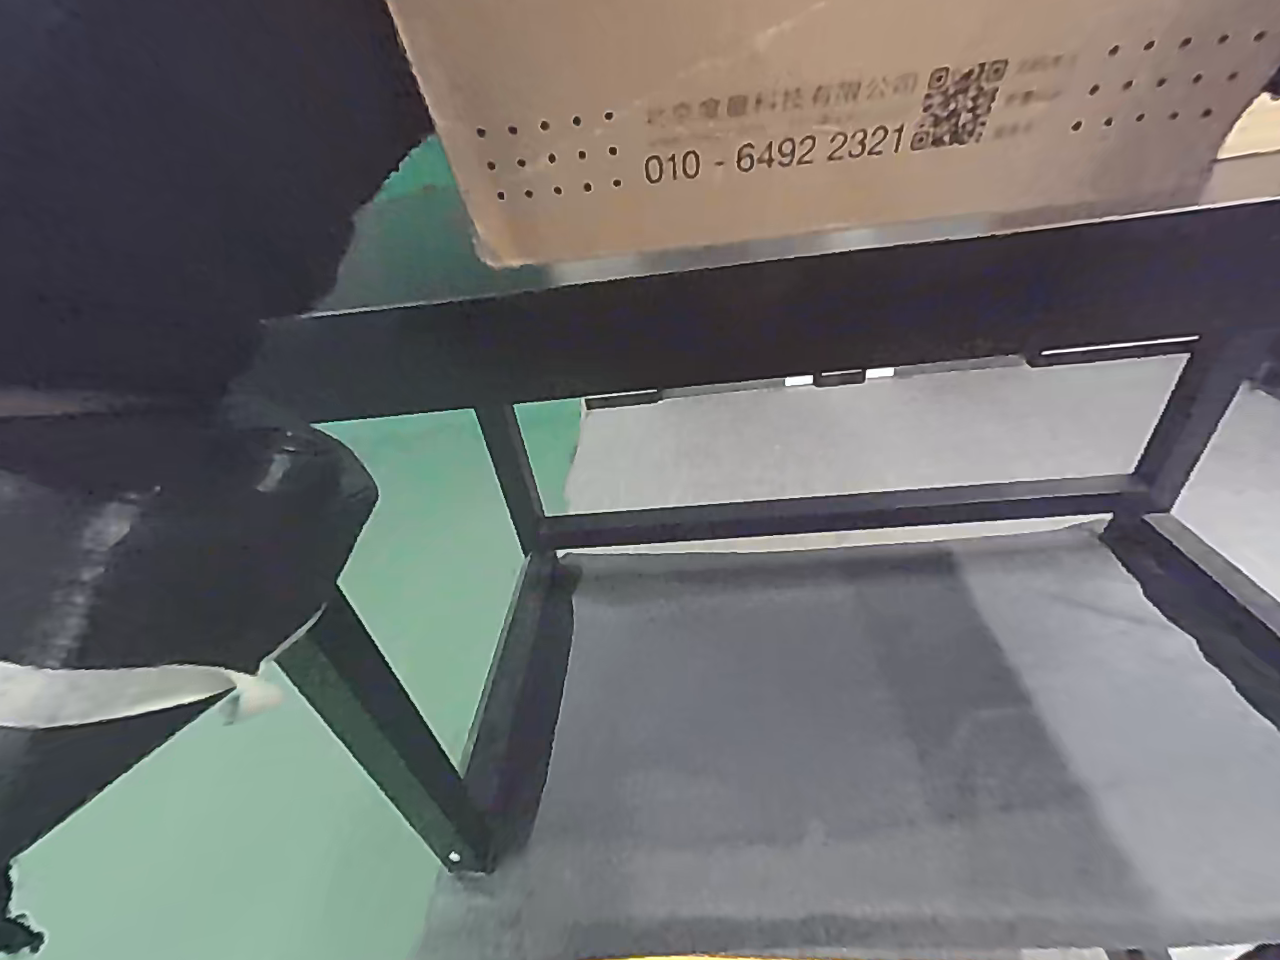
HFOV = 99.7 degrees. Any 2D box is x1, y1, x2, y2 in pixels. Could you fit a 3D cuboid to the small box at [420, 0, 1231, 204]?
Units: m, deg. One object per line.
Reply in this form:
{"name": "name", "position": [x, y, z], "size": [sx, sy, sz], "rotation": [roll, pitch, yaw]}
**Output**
{"name": "small box", "position": [0.030, -0.179, 0.114], "size": [0.168, 0.176, 0.179], "rotation": [-6, 55, 3]}

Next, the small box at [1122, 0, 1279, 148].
{"name": "small box", "position": [0.354, -0.295, 0.304], "size": [0.168, 0.176, 0.179], "rotation": [-8, 34, 3]}
